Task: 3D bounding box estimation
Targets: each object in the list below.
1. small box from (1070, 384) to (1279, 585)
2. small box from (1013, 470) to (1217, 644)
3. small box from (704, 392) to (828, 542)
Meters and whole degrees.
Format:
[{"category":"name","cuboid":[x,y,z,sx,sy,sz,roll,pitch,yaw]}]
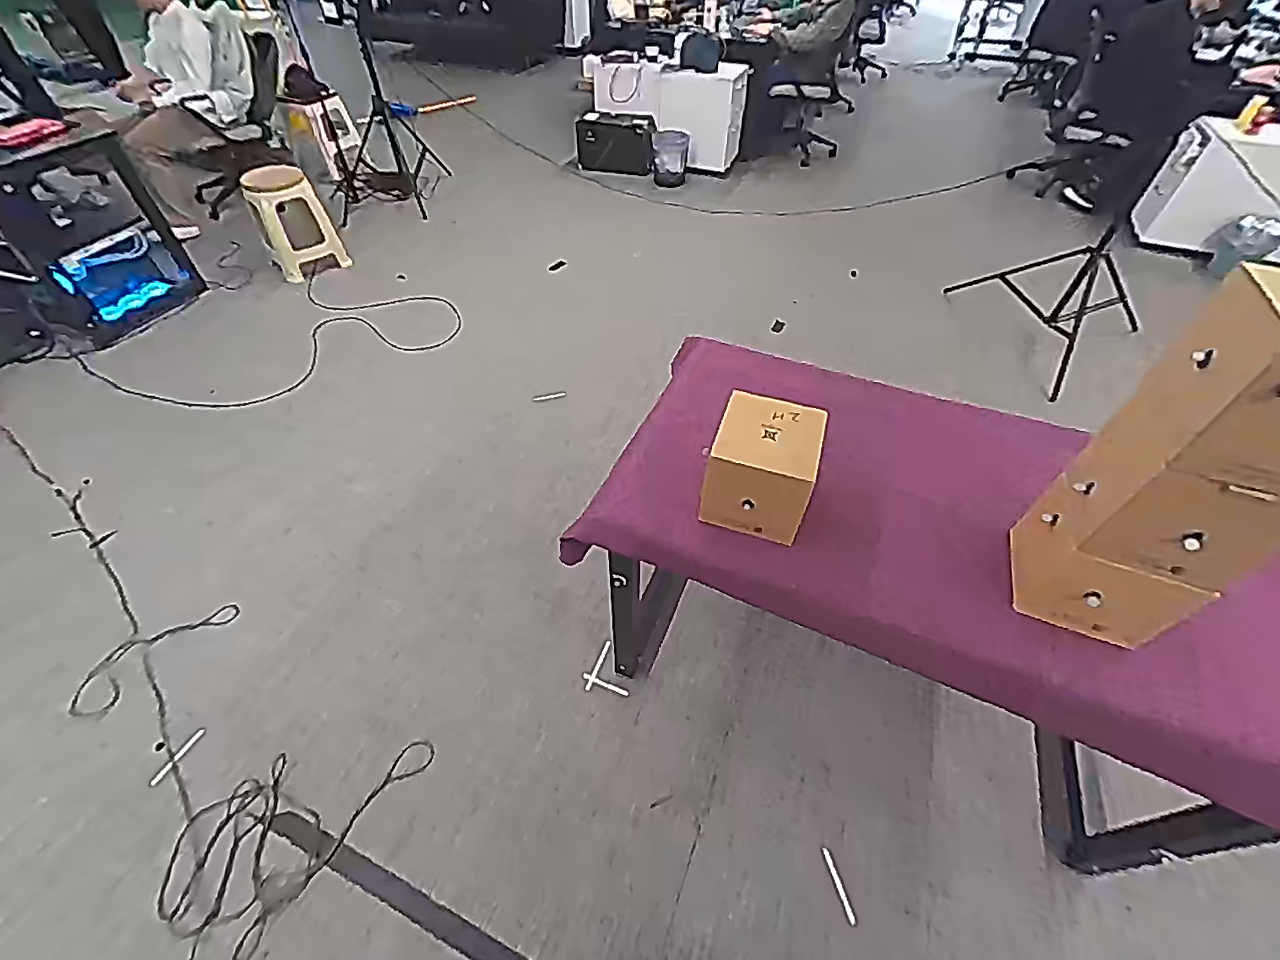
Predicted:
[{"category":"small box","cuboid":[0.703,0.008,0.705,0.168,0.176,0.179,19,51,16]},{"category":"small box","cuboid":[0.699,0.120,0.824,0.168,0.176,0.179,18,50,15]},{"category":"small box","cuboid":[0.212,-0.020,0.937,0.168,0.176,0.179,15,49,12]}]
